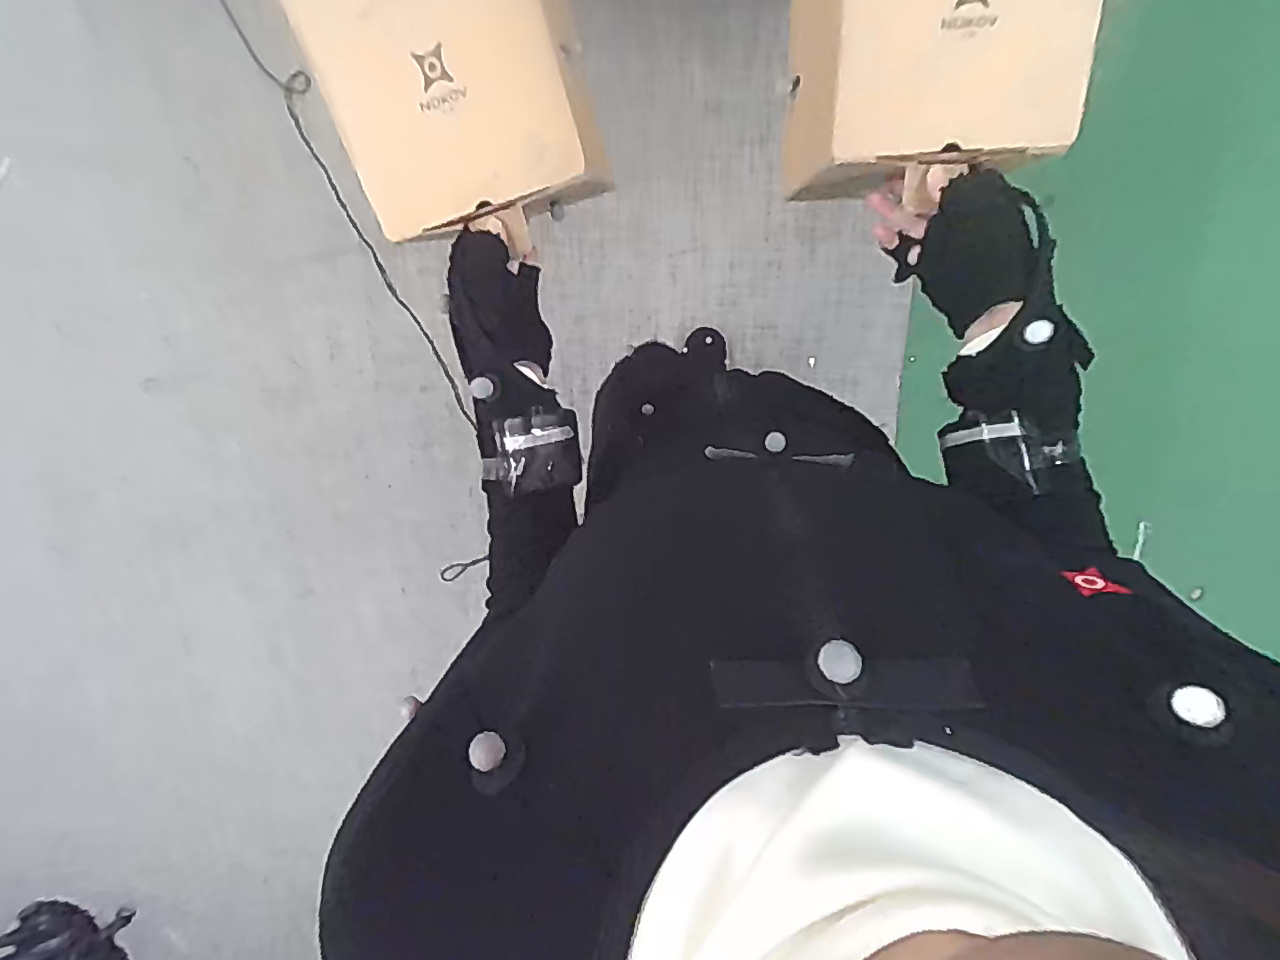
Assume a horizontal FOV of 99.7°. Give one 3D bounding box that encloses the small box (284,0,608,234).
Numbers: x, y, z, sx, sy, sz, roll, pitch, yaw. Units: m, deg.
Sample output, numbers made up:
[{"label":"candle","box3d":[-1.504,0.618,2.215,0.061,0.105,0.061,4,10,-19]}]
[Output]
[{"label":"small box","box3d":[-0.134,-0.319,0.440,0.168,0.176,0.179,-14,114,11]}]
